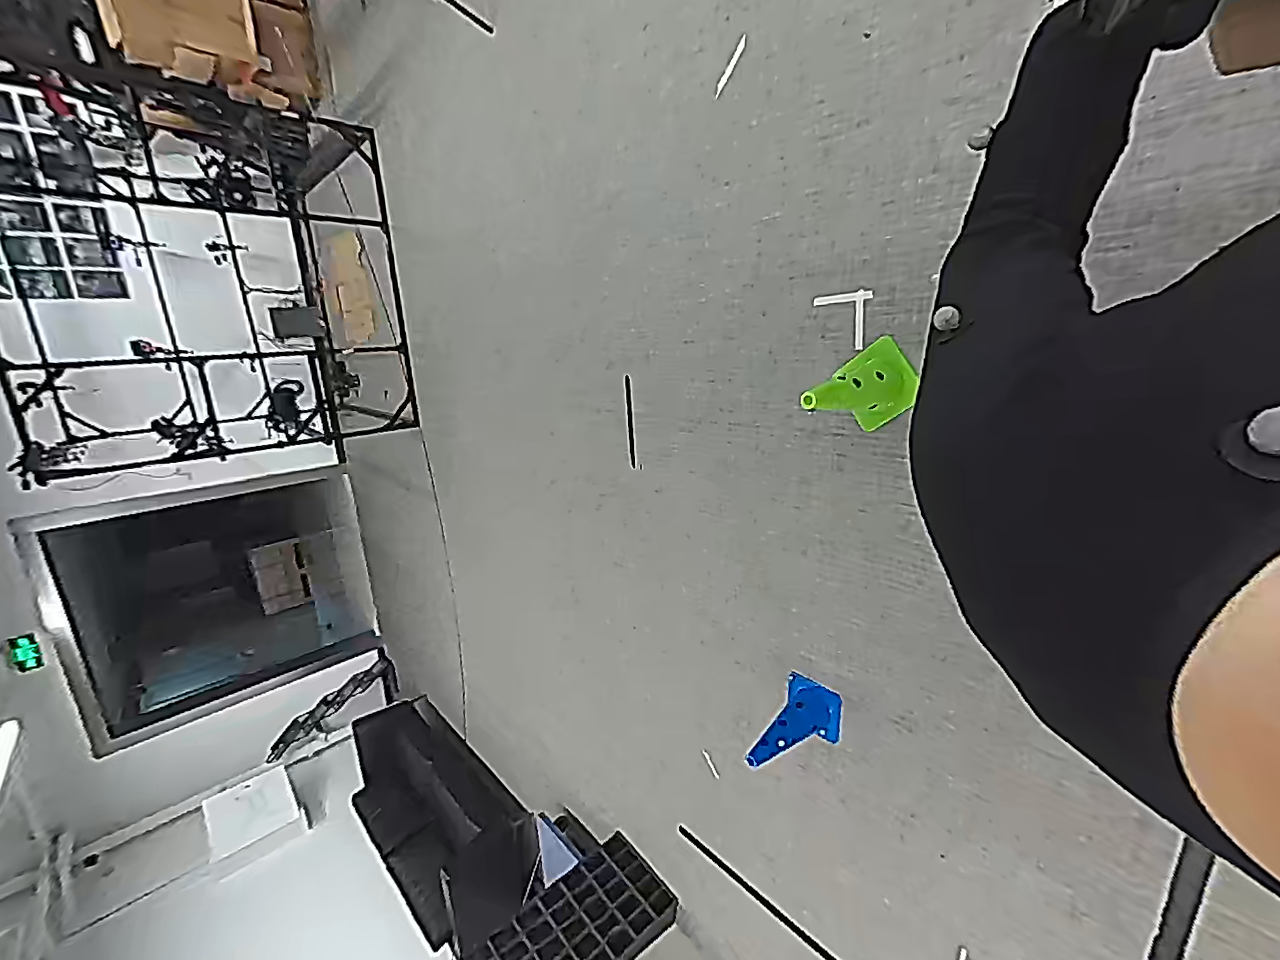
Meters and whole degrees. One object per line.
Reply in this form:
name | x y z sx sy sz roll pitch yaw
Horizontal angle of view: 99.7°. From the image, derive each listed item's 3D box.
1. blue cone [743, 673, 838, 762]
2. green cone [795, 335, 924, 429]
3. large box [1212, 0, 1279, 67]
blue cone | 0.479 0.824 1.787 0.192 0.380 0.193 19 116 46
green cone | 0.516 -0.228 1.371 0.202 0.368 0.200 -43 69 49
large box | 0.560 -0.443 0.224 0.408 0.320 0.320 17 119 43
